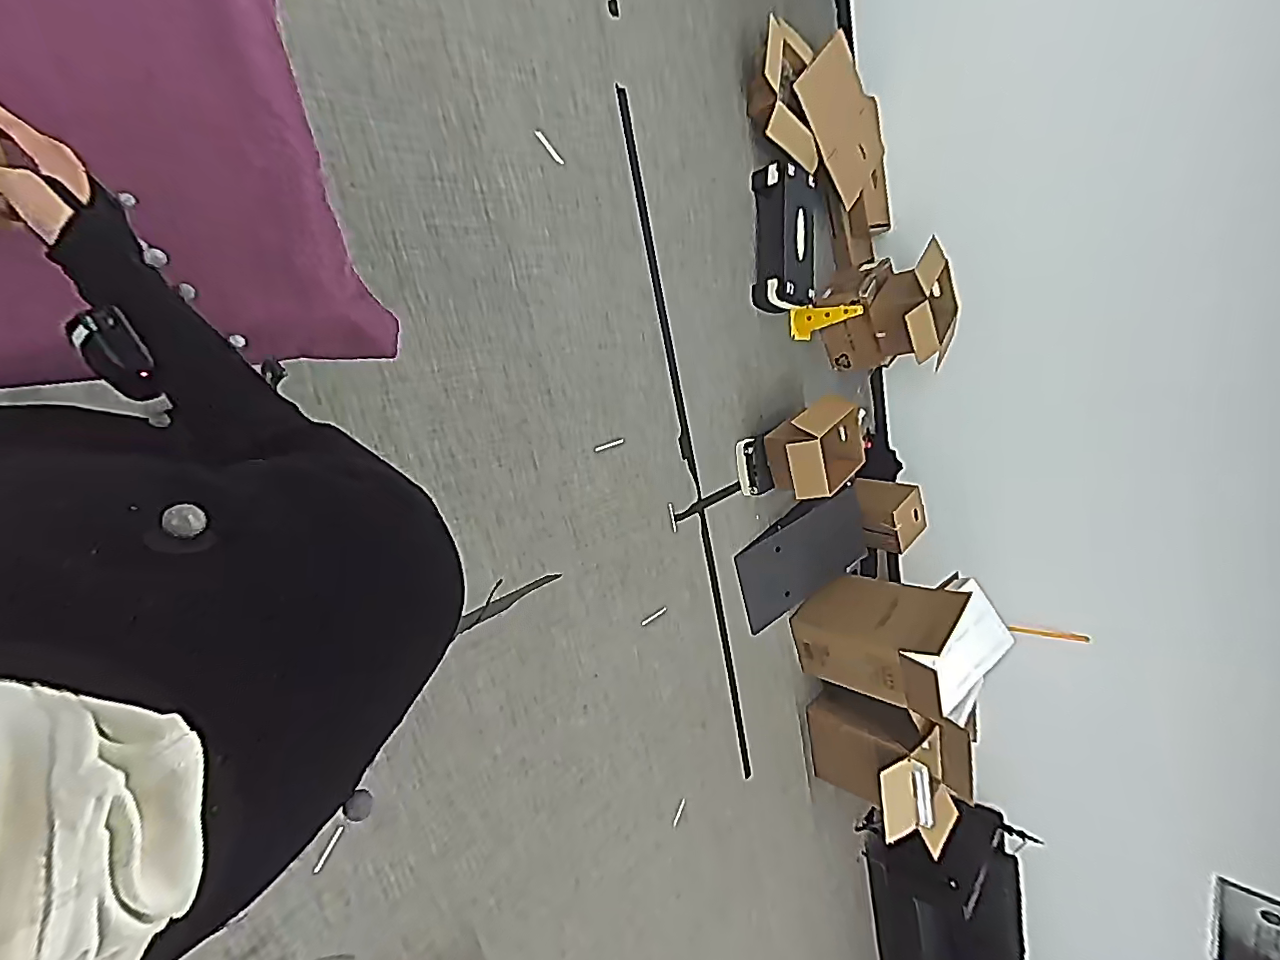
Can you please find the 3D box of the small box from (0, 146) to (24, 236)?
[{"bbox_3d":[-0.655,-0.297,0.433,0.179,0.176,0.168,-27,114,-43],"label":"small box"}]
